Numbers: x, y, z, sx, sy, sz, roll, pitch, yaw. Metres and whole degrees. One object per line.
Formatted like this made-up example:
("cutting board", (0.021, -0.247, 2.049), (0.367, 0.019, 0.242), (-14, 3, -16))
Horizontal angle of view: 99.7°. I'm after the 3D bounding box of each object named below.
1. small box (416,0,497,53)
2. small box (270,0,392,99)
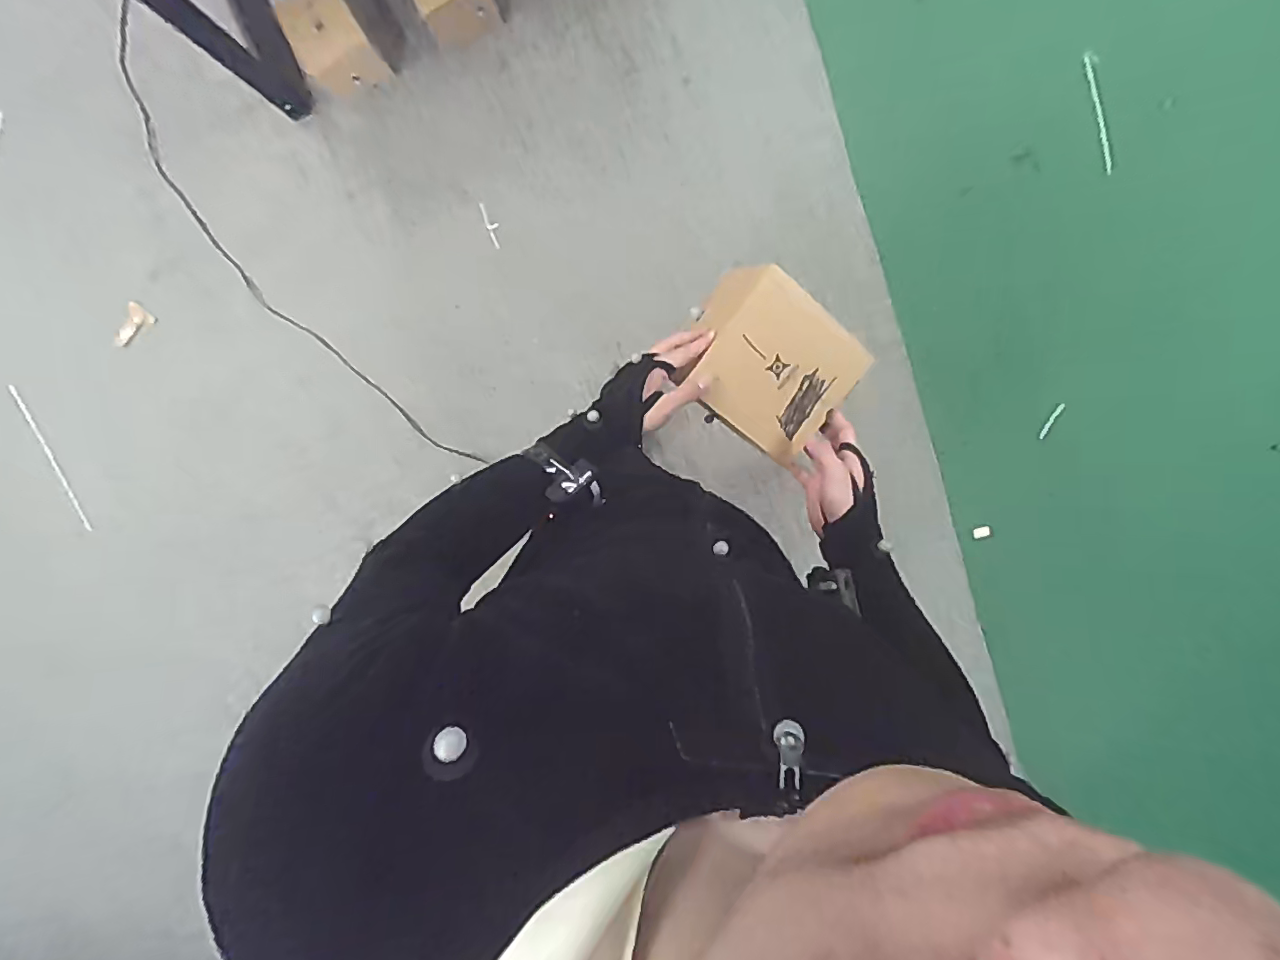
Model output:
("small box", (-0.476, -1.232, 1.347), (0.179, 0.176, 0.168), (-27, 96, 6))
("small box", (-0.770, -1.113, 1.369), (0.168, 0.176, 0.179), (-29, 97, 5))
